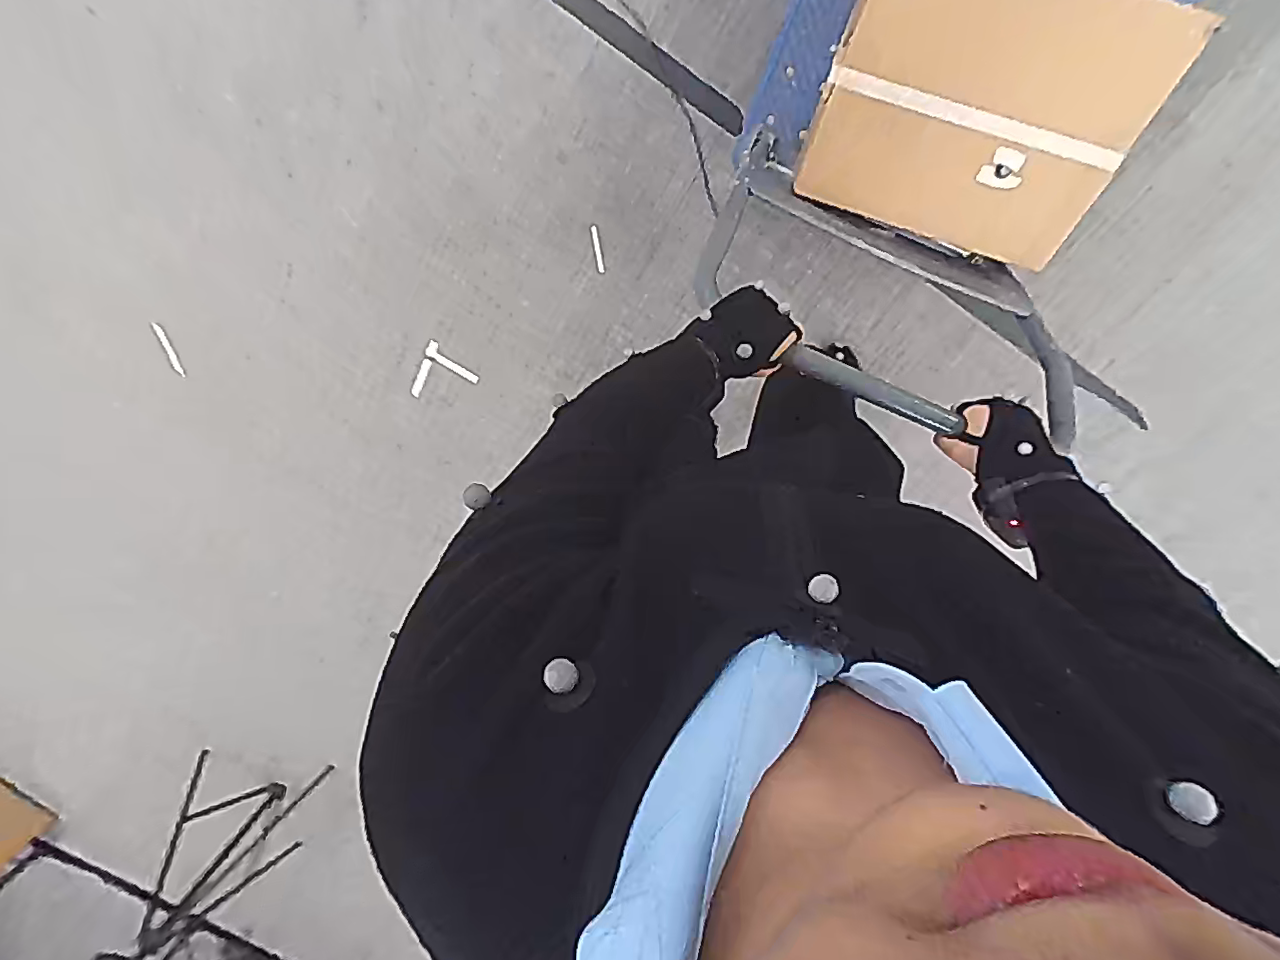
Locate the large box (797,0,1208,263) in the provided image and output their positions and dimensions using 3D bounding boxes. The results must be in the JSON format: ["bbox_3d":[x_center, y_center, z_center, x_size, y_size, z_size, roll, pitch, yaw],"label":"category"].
[{"bbox_3d":[0.500,-0.601,0.868,0.408,0.320,0.320,19,132,1],"label":"large box"}]
